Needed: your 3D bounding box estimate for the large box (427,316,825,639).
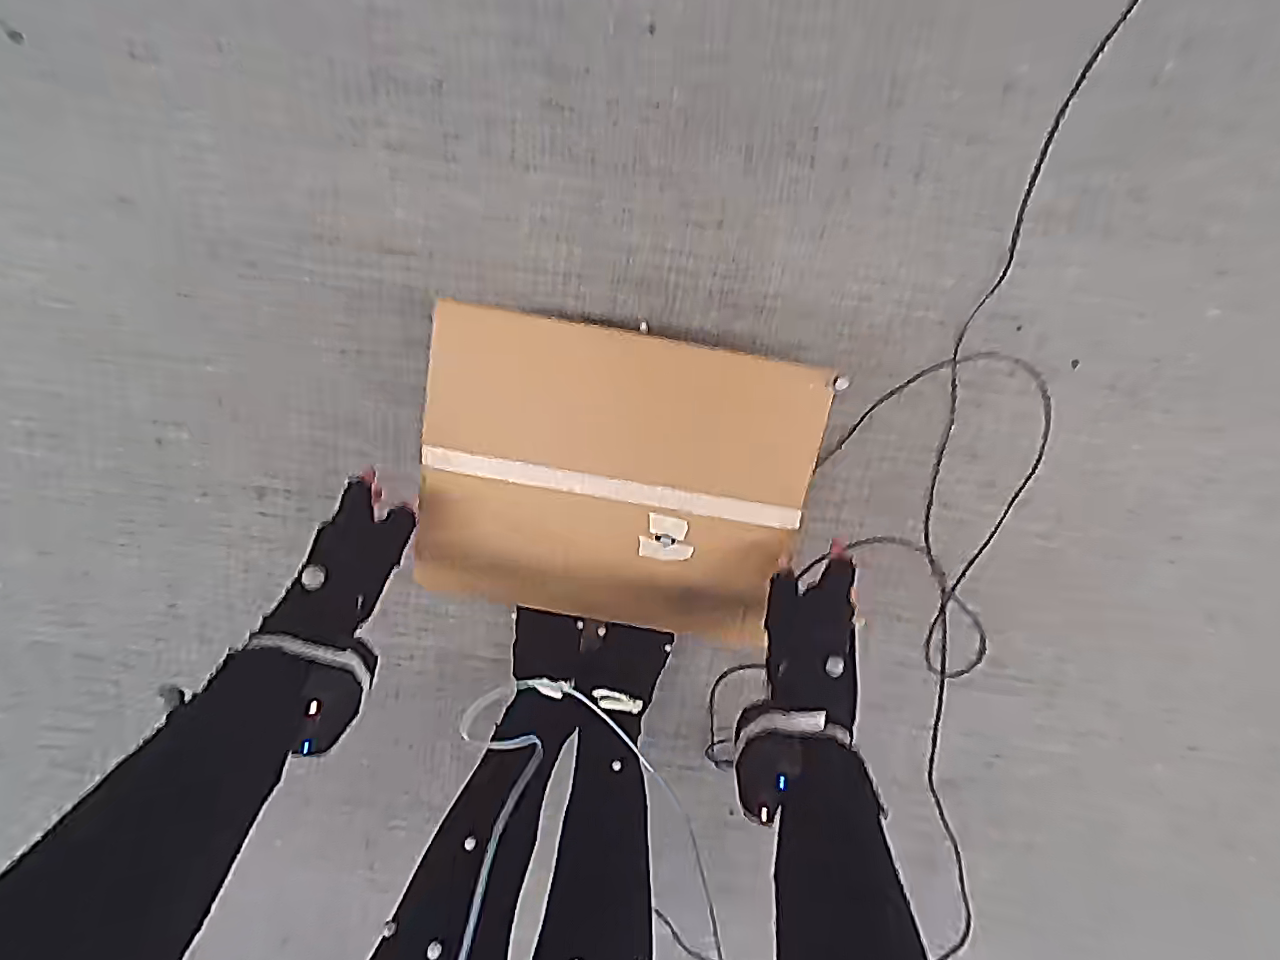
[{"bbox_3d":[-0.026,-0.024,0.733,0.408,0.320,0.320,10,104,-1],"label":"large box"}]
